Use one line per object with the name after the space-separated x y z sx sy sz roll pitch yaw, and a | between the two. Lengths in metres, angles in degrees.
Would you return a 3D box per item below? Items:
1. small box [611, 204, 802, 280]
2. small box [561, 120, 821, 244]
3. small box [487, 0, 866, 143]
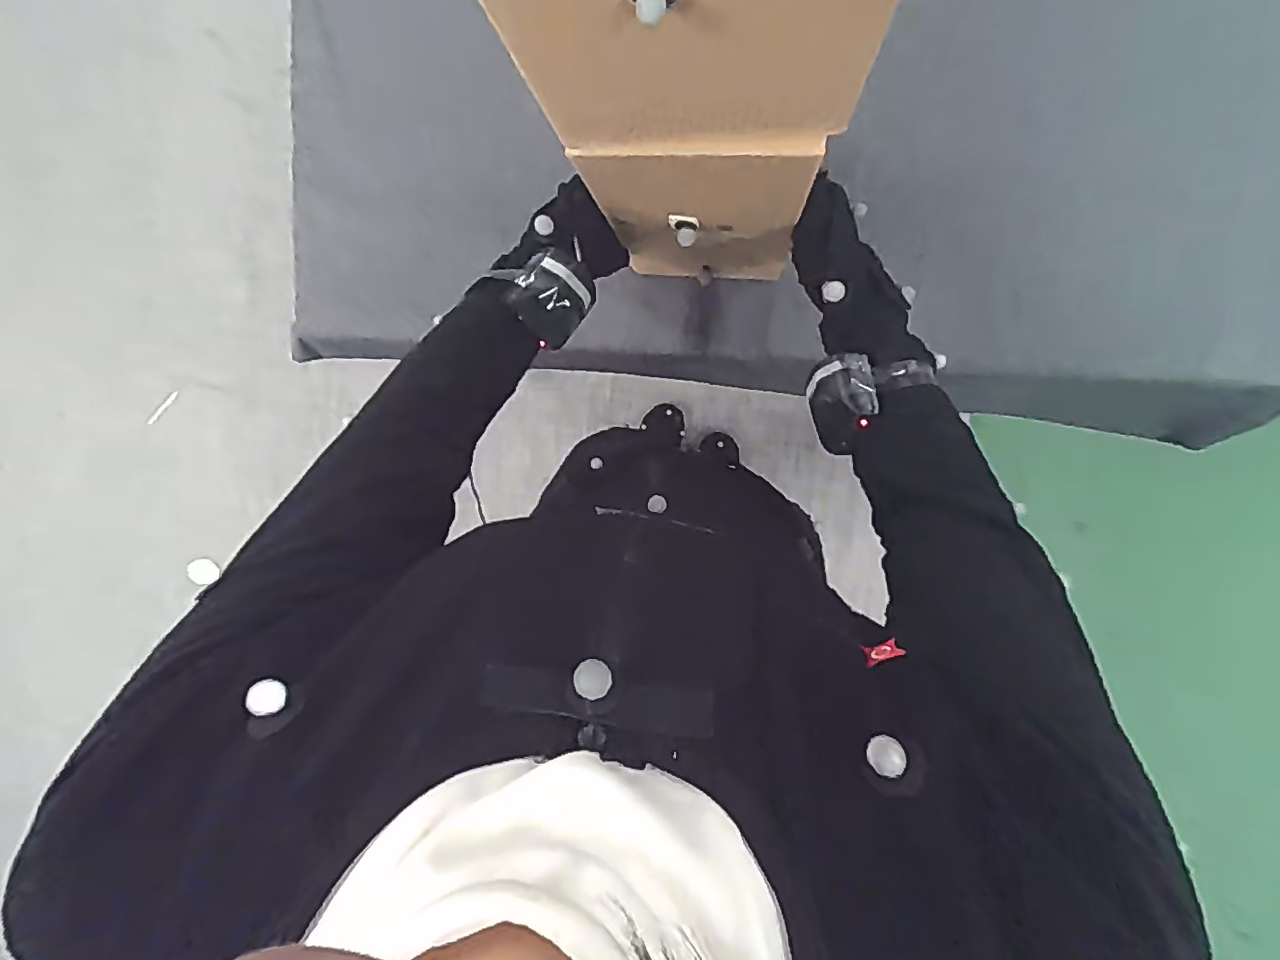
0.075 -0.316 0.569 0.179 0.176 0.168 6 97 7 | small box
0.049 -0.297 0.409 0.168 0.176 0.179 6 99 10 | small box
0.020 -0.281 0.248 0.179 0.176 0.168 4 97 9 | small box
